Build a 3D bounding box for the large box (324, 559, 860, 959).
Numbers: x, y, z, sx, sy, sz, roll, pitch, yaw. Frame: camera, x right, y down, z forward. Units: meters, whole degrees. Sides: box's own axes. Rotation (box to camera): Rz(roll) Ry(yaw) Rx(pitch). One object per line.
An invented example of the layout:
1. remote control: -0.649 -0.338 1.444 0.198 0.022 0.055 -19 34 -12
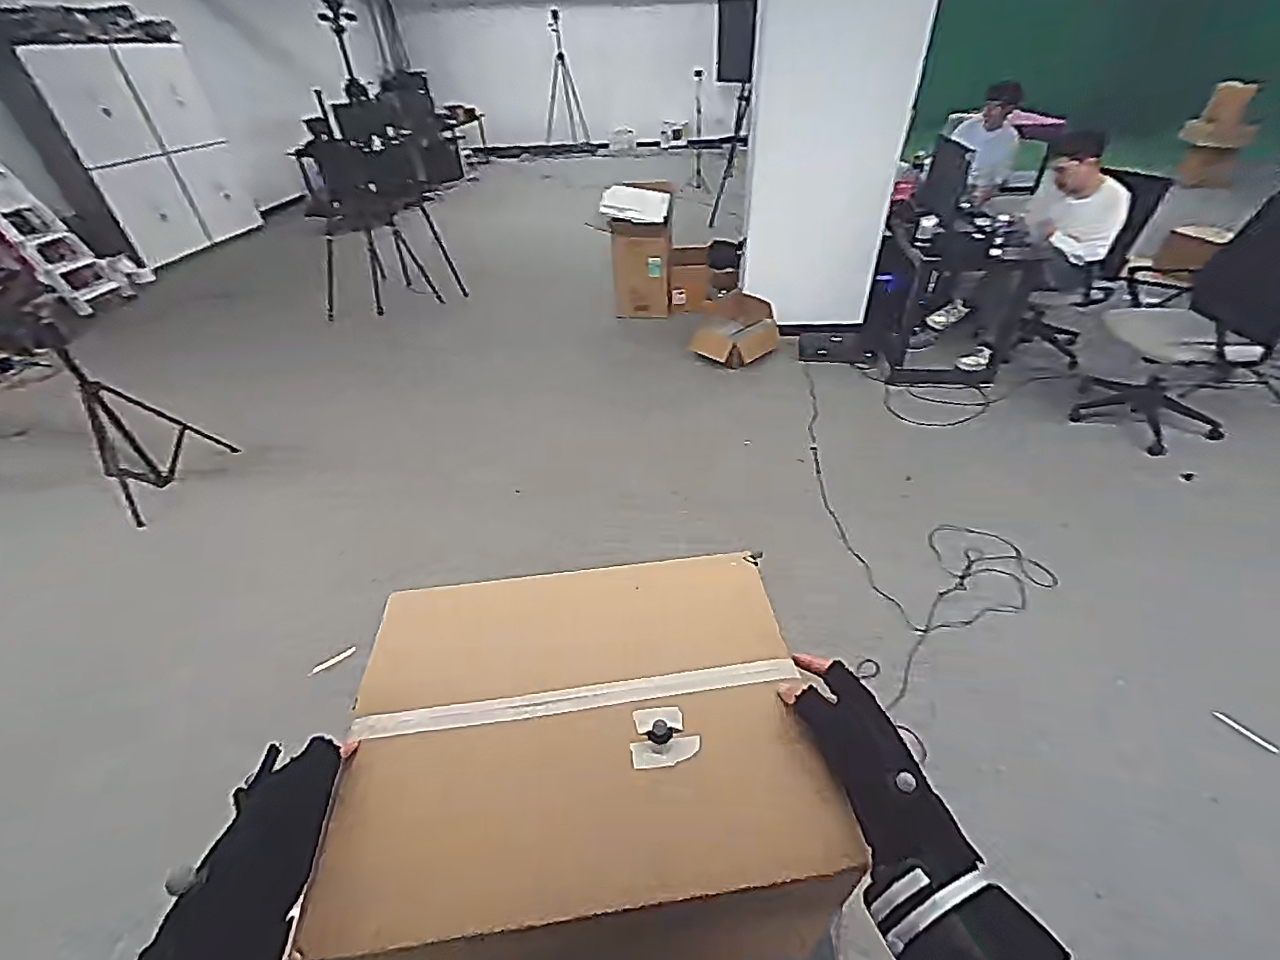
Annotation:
1. large box: -0.043 0.322 0.599 0.408 0.320 0.320 -5 39 -5
